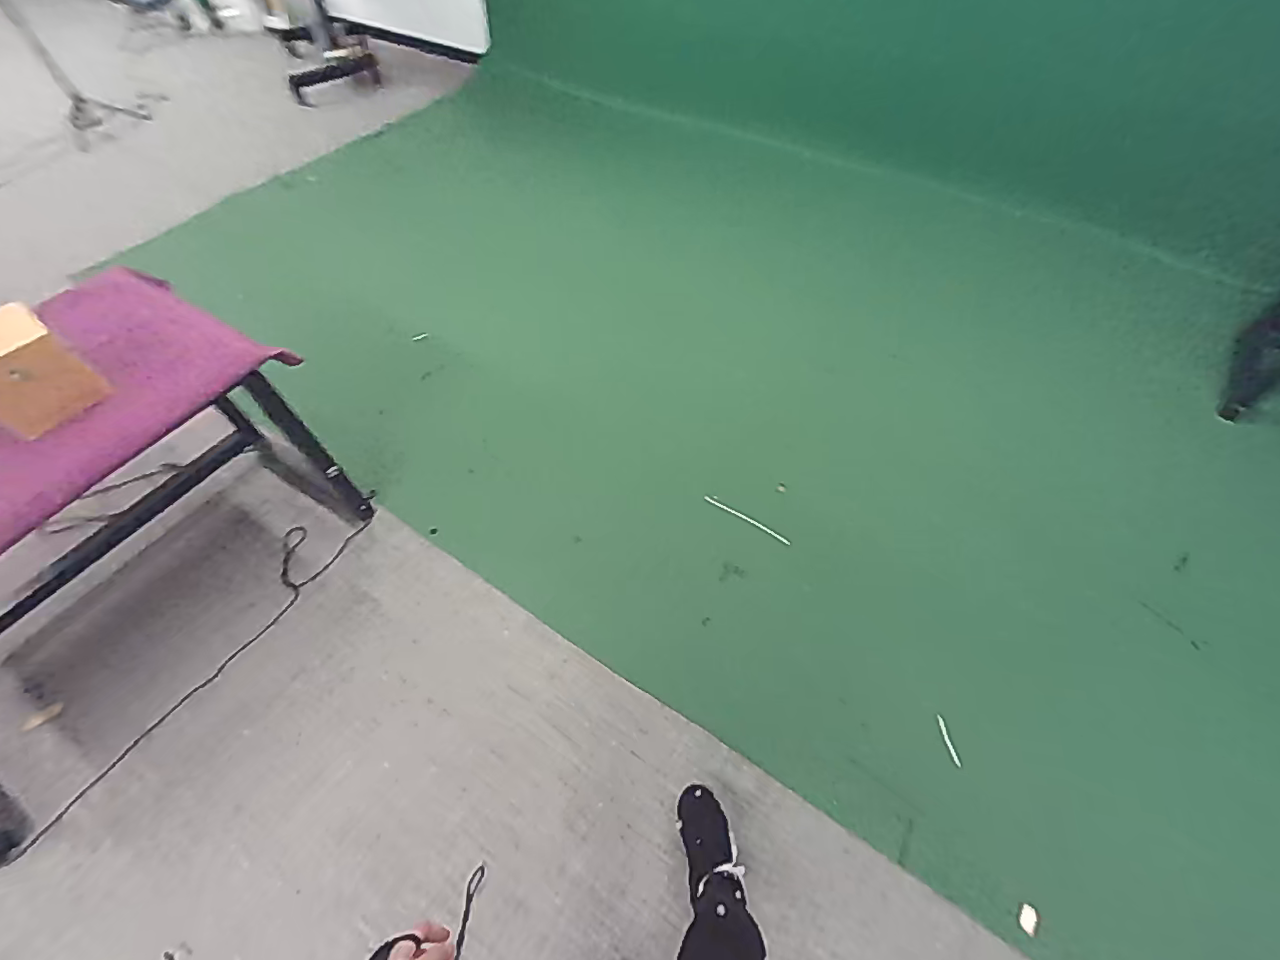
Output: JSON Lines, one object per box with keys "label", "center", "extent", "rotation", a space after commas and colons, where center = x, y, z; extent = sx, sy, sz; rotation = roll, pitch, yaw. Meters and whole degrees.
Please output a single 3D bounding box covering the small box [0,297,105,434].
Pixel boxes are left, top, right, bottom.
{"label": "small box", "center": [-1.255, -0.229, 1.097], "extent": [0.168, 0.176, 0.179], "rotation": [33, 62, 20]}
